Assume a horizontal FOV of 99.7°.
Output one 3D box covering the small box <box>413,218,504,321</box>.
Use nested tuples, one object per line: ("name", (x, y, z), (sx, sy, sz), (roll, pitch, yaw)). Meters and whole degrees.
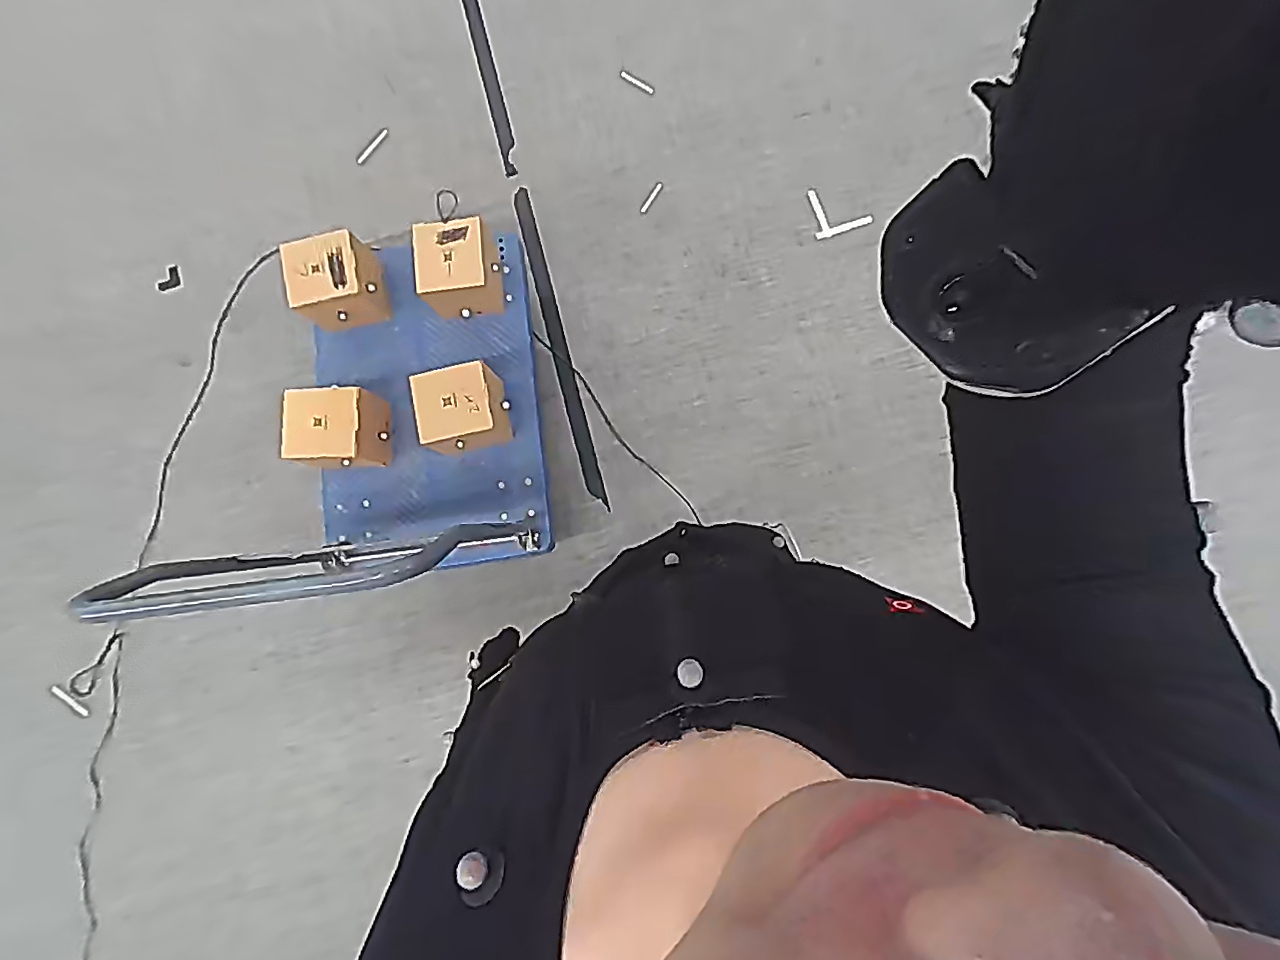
("small box", (-0.450, -0.522, 1.357), (0.168, 0.176, 0.179), (-7, 84, 2))

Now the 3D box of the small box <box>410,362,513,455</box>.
("small box", (-0.428, -0.166, 1.314), (0.179, 0.176, 0.168), (-13, 83, 1))

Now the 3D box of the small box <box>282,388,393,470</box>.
("small box", (-0.732, -0.119, 1.322), (0.179, 0.176, 0.168), (-2, 83, 0))
